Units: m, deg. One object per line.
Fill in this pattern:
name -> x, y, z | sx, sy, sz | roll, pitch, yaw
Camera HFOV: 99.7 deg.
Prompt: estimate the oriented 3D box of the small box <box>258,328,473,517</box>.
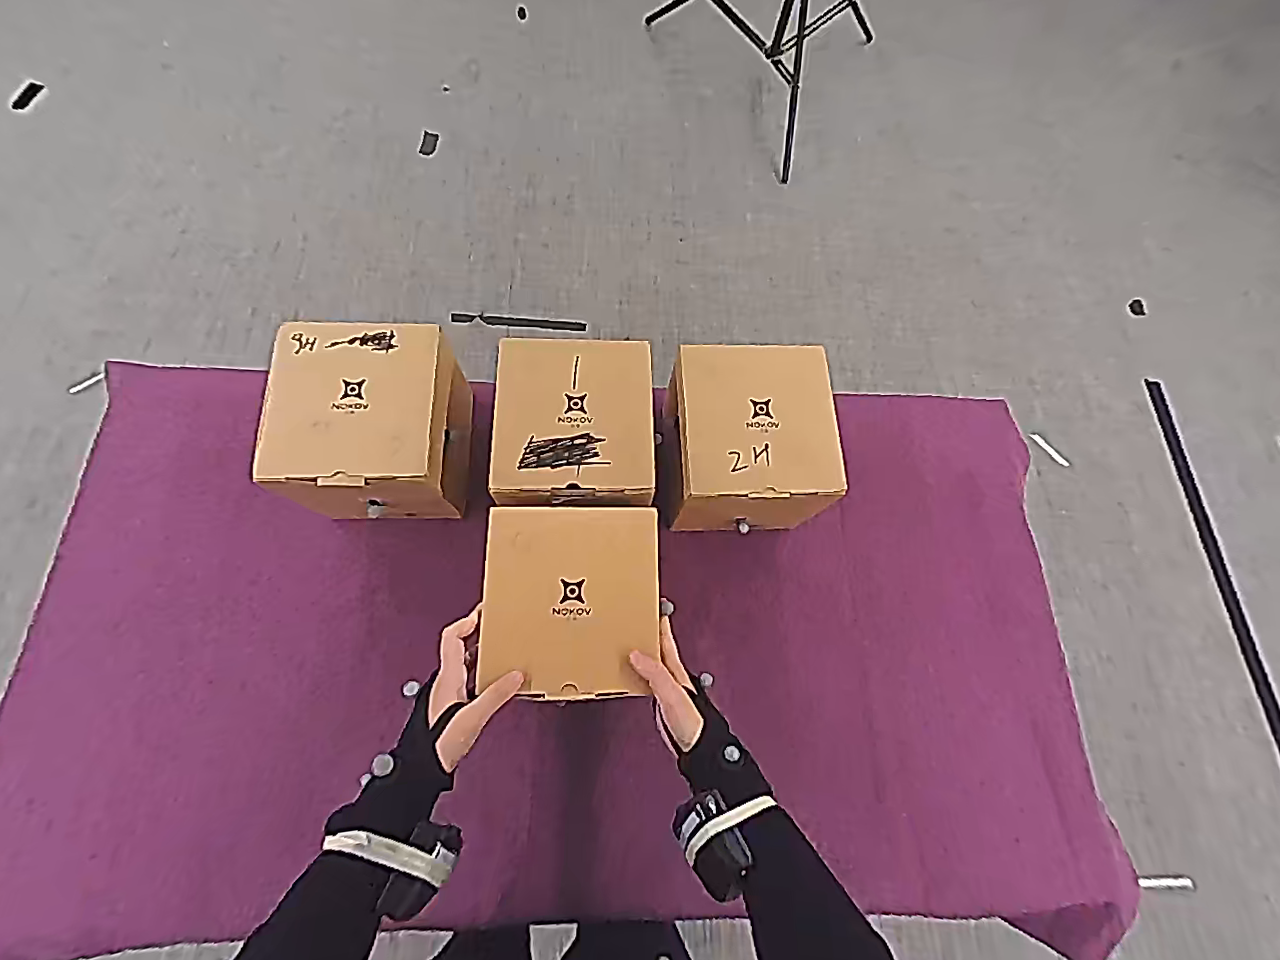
small box -> -0.296, -0.055, 0.625 | 0.168, 0.176, 0.179 | -1, 74, -5
